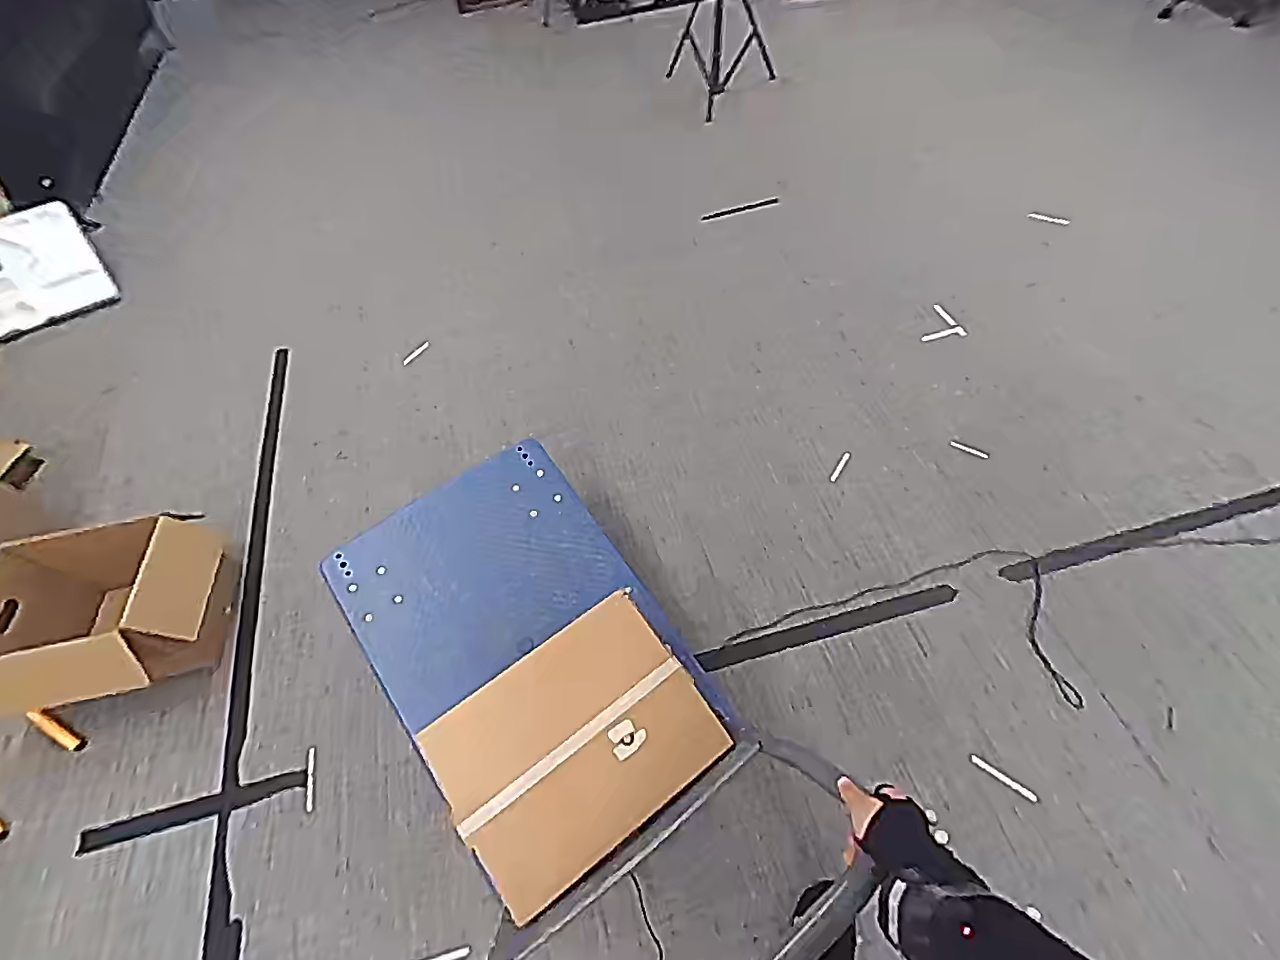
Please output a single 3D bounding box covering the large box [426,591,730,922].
[{"bbox_3d":[-0.107,0.475,1.007,0.408,0.320,0.320,-34,75,-16],"label":"large box"}]
